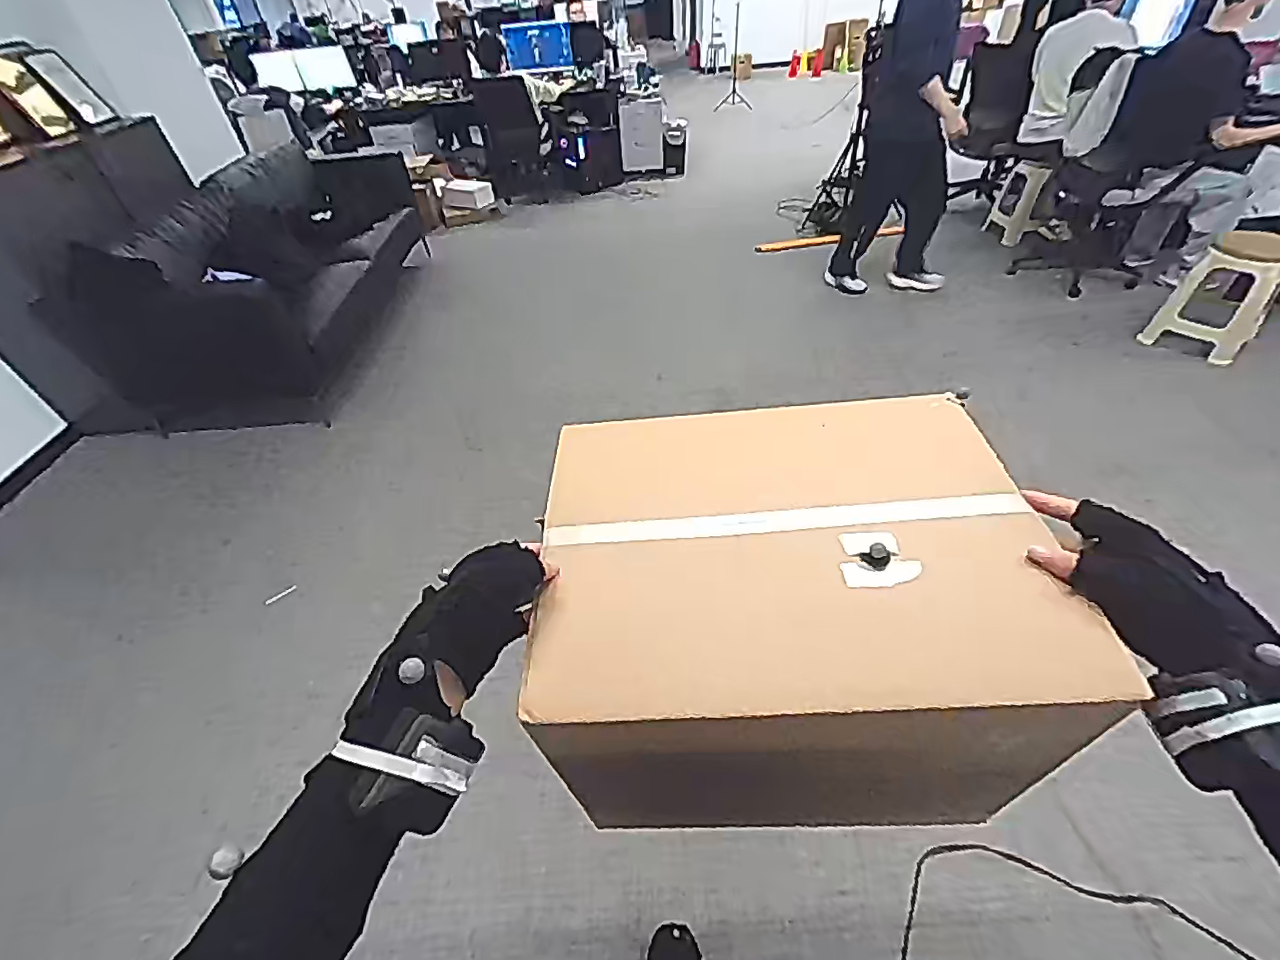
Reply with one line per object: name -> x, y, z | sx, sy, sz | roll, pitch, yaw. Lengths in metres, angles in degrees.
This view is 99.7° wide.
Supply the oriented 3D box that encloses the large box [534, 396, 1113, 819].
large box -> 0.134, 0.142, 0.579 | 0.408, 0.320, 0.320 | -5, 46, 5
